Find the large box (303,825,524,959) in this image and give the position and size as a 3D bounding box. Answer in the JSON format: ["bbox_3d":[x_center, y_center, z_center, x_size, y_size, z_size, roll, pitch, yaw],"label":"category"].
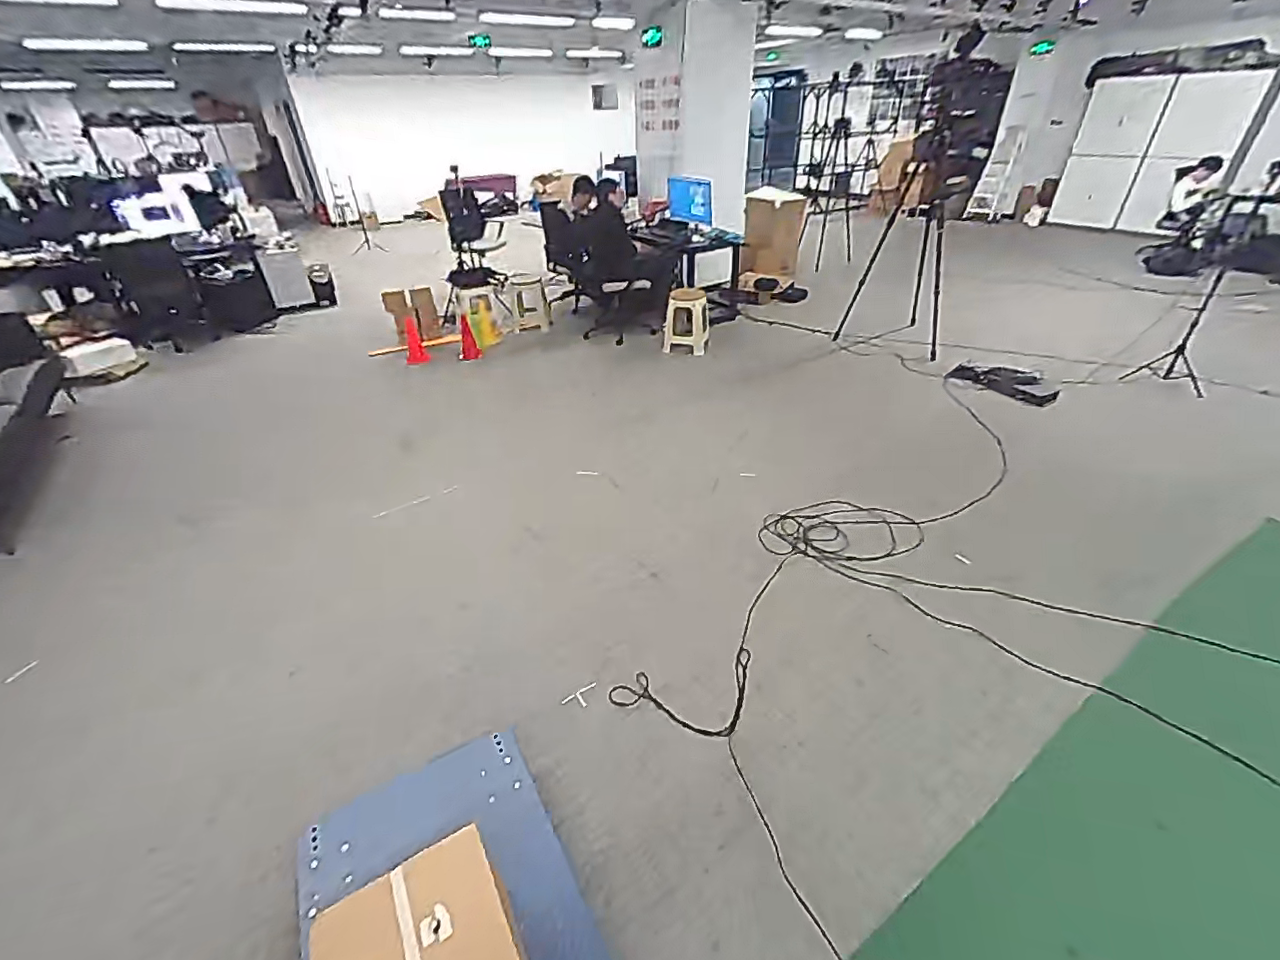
[{"bbox_3d":[-0.367,0.961,0.979,0.320,0.320,0.408,-20,37,-25],"label":"large box"}]
